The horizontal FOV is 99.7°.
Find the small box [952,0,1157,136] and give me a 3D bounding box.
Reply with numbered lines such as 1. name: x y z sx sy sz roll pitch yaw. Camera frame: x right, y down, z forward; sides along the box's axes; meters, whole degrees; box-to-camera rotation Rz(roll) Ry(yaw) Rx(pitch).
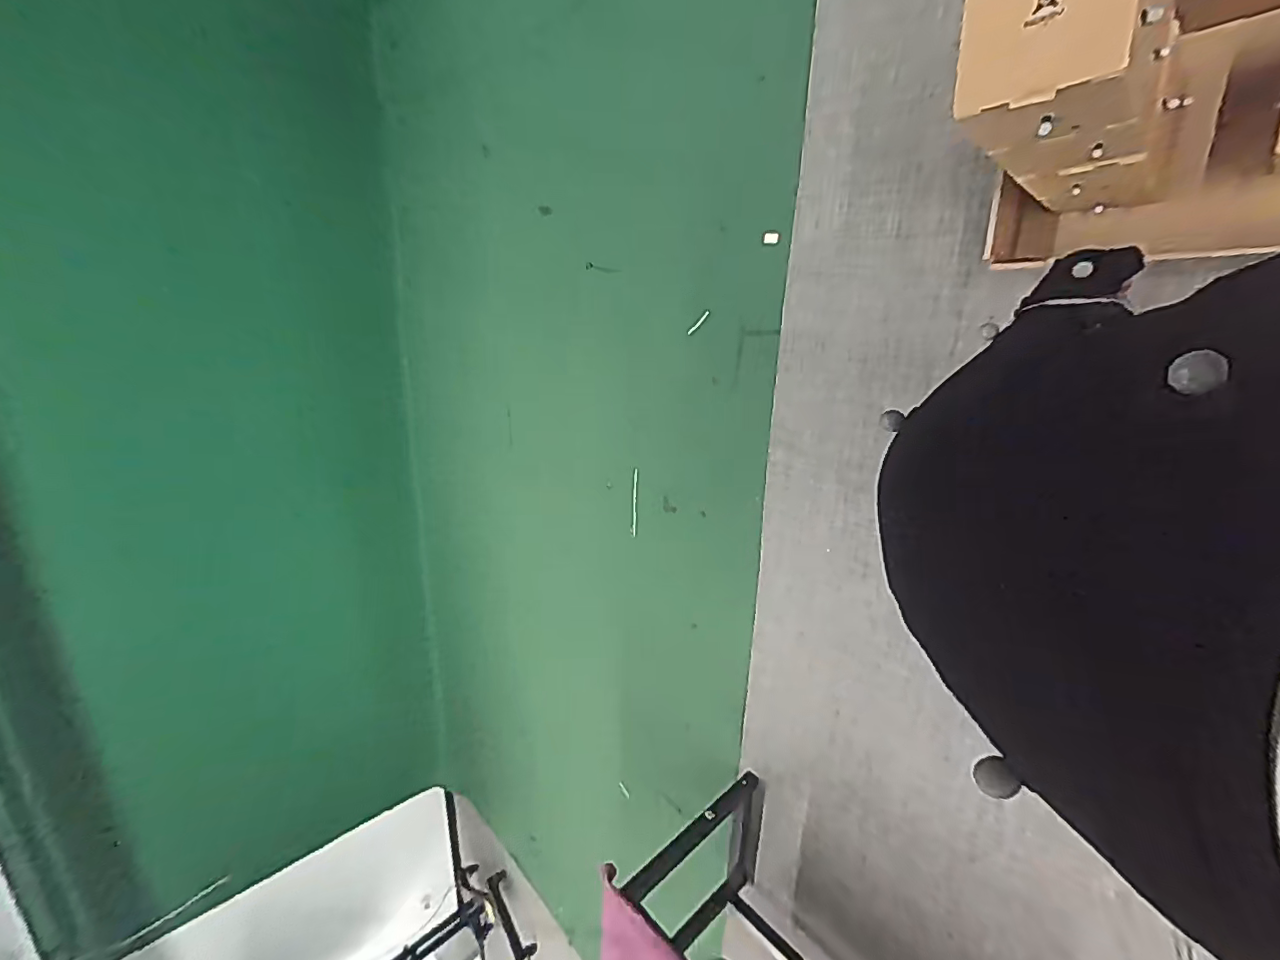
1. small box: 0.498 -0.535 0.645 0.168 0.176 0.179 13 111 43

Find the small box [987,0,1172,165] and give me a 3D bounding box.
1. small box: 0.614 -0.561 0.757 0.168 0.176 0.179 14 110 43

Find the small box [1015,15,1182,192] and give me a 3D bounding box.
1. small box: 0.733 -0.584 0.868 0.168 0.176 0.179 16 112 43

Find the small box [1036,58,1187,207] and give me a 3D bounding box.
1. small box: 0.850 -0.612 0.978 0.168 0.176 0.179 18 113 43
